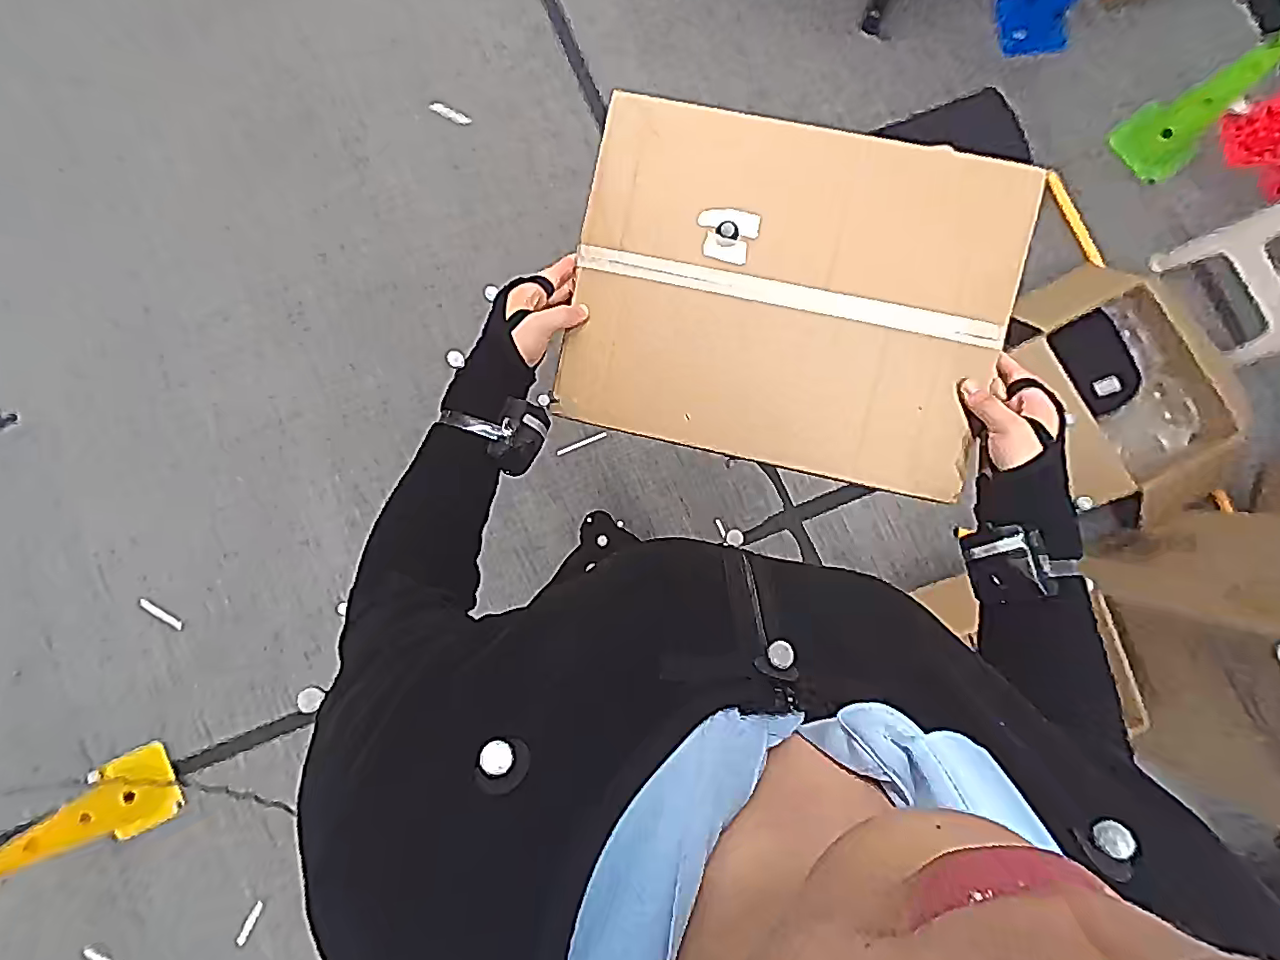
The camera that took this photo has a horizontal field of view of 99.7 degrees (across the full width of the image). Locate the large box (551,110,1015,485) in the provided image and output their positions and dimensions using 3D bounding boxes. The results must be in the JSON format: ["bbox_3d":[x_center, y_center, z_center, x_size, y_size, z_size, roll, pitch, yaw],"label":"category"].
[{"bbox_3d":[0.144,-0.190,0.675,0.408,0.320,0.320,12,94,5],"label":"large box"}]
